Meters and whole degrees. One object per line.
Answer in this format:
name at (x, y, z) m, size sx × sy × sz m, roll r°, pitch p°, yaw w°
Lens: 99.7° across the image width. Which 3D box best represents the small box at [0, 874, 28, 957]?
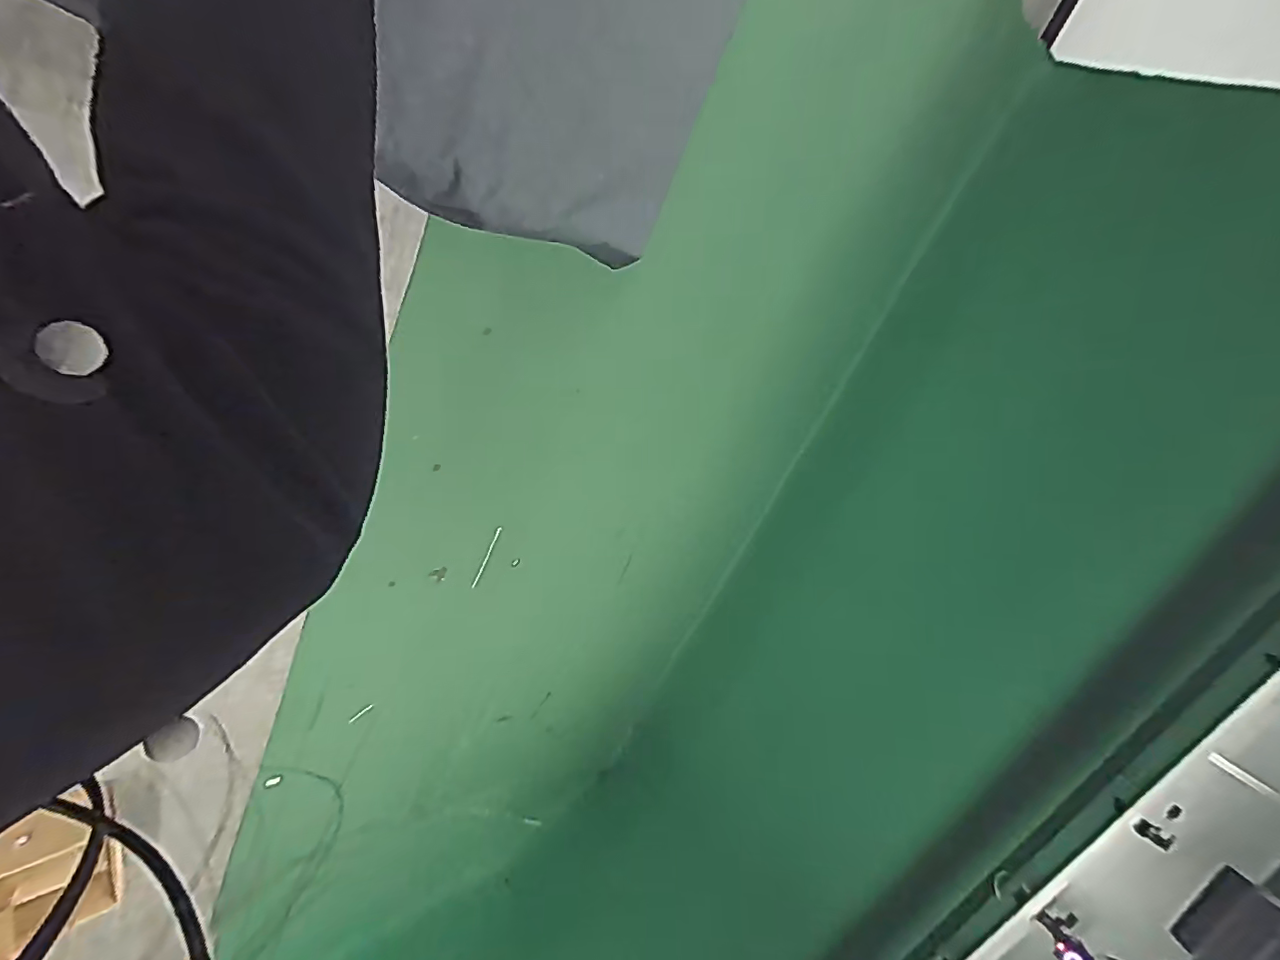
small box at (-1.745, 1.193, 1.414) m, size 0.179 × 0.176 × 0.168 m, roll -5°, pitch 124°, yaw -48°
